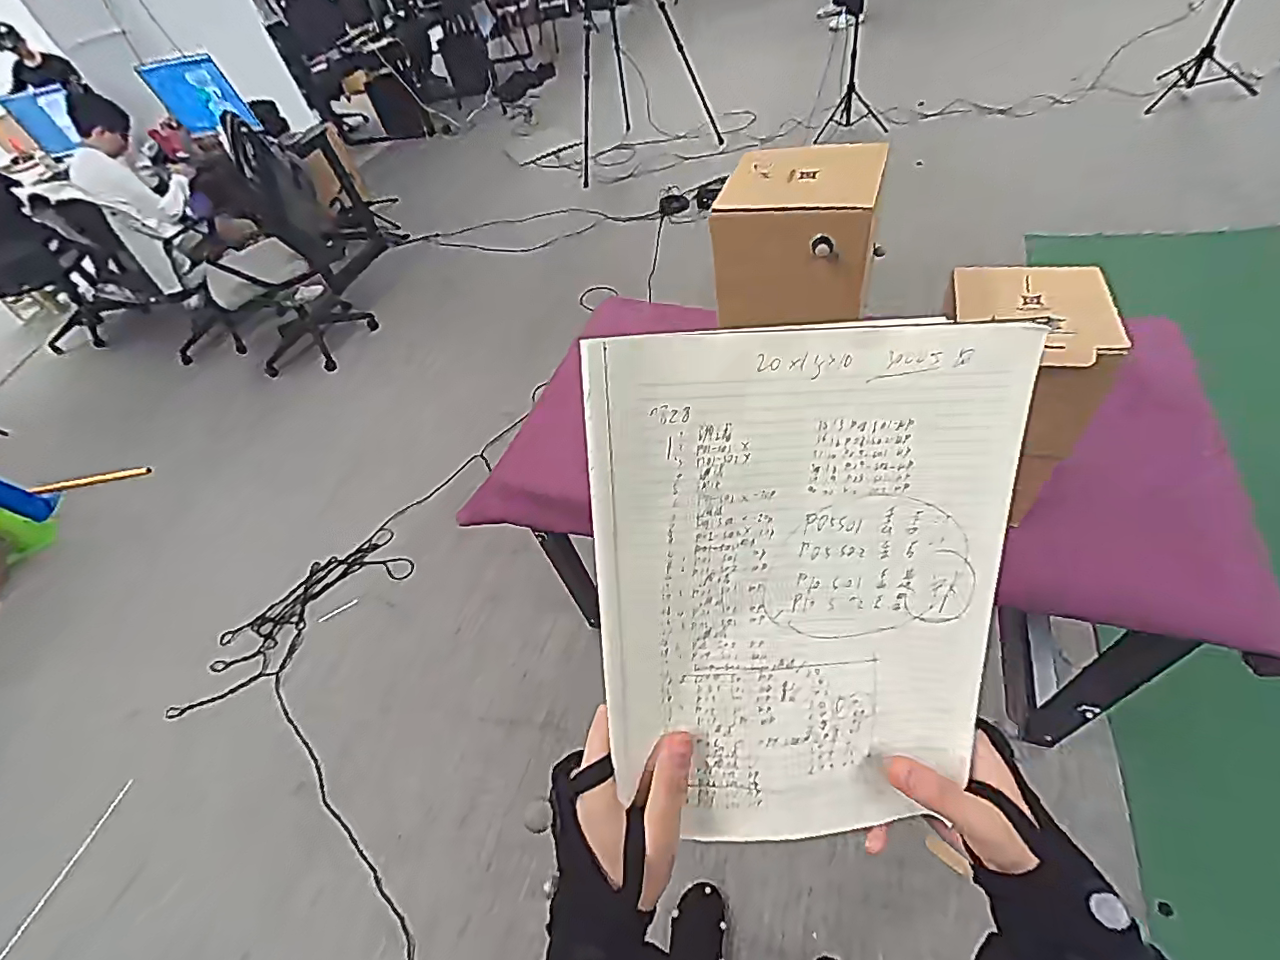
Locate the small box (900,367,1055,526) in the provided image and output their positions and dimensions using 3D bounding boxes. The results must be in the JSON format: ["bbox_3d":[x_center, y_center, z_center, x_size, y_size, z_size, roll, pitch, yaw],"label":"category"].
[{"bbox_3d":[0.510,-0.051,0.839,0.168,0.176,0.179,9,52,20],"label":"small box"}]

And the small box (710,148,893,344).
[{"bbox_3d":[0.201,-0.288,0.677,0.179,0.176,0.168,10,52,22],"label":"small box"}]

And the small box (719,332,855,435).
[{"bbox_3d":[0.225,-0.187,0.806,0.168,0.176,0.179,9,52,21],"label":"small box"}]

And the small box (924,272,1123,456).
[{"bbox_3d":[0.483,-0.152,0.713,0.168,0.176,0.179,8,51,19],"label":"small box"}]
